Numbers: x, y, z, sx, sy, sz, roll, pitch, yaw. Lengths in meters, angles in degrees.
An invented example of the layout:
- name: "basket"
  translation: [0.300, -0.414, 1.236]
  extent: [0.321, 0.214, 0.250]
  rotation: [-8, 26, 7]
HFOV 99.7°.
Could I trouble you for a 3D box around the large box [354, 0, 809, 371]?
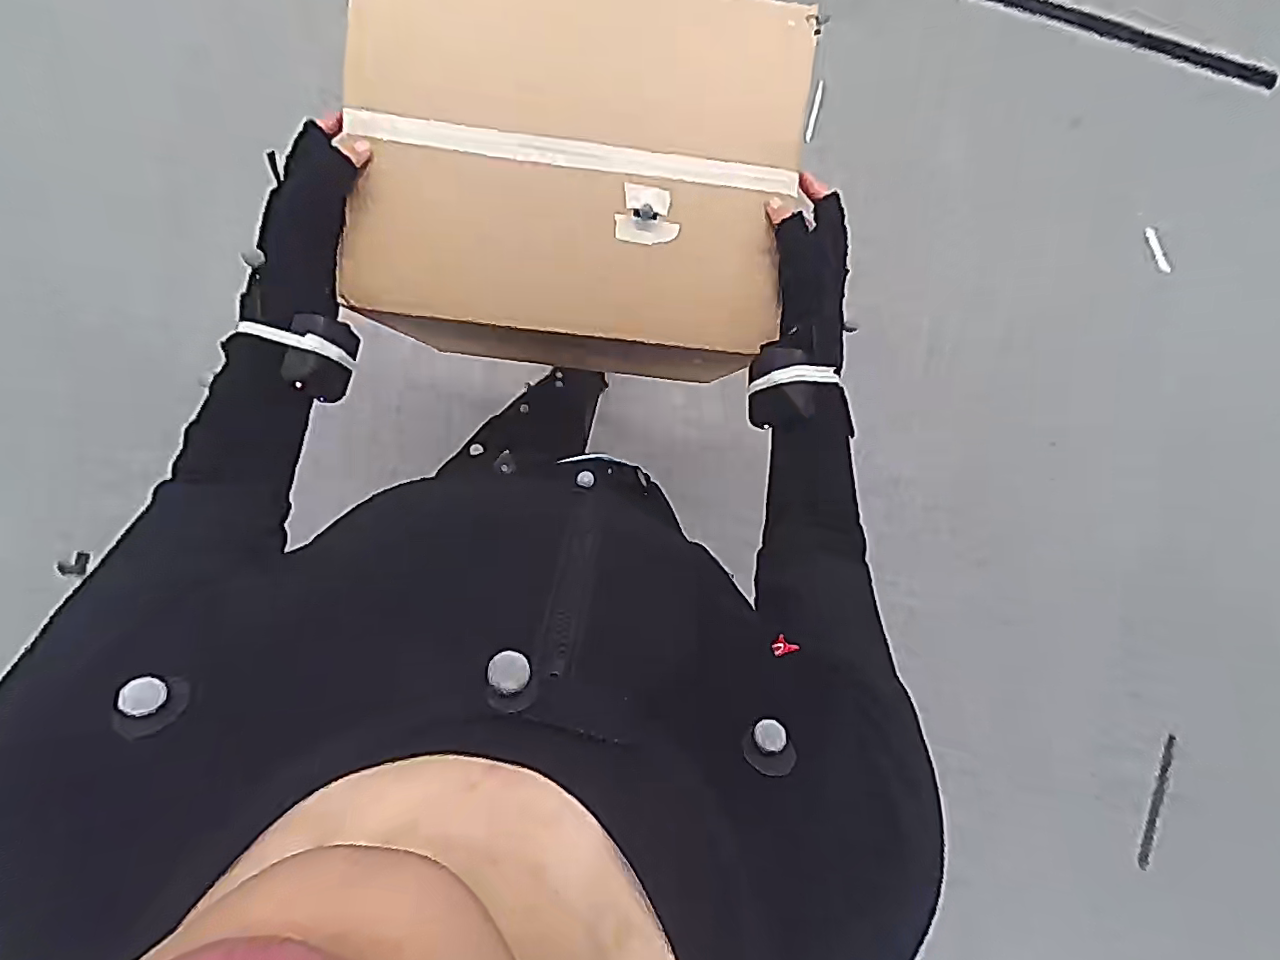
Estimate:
- name: "large box"
  translation: [-0.067, -0.315, 0.644]
  extent: [0.408, 0.320, 0.320]
  rotation: [6, 97, -6]
